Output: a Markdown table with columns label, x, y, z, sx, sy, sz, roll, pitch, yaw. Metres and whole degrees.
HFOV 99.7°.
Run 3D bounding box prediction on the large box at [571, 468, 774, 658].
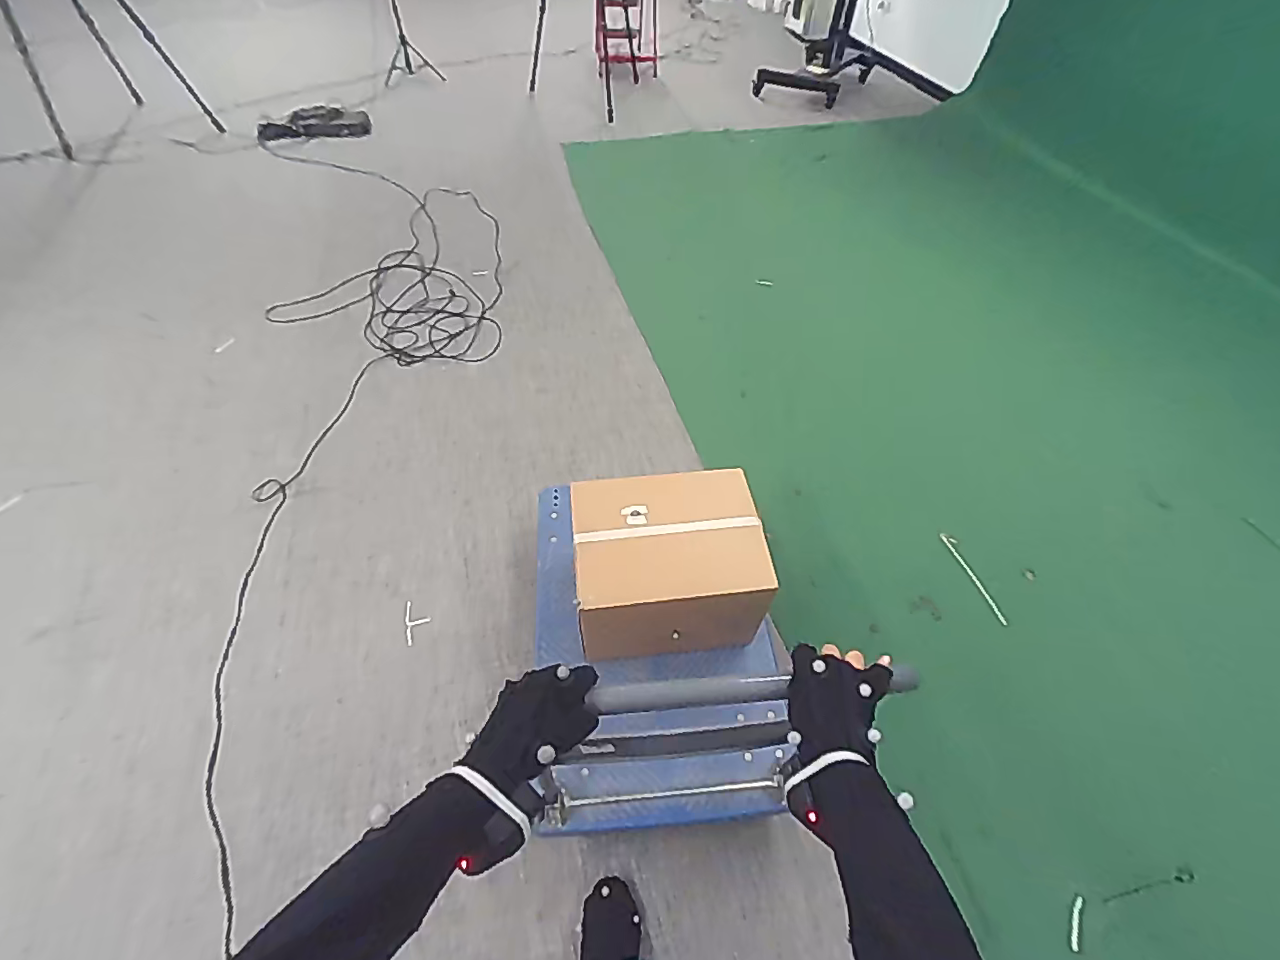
| label | x | y | z | sx | sy | sz | roll | pitch | yaw |
| --- | --- | --- | --- | --- | --- | --- | --- | --- | --- |
| large box | 0.058 | 0.203 | 1.290 | 0.408 | 0.320 | 0.320 | -6 | 53 | -6 |
